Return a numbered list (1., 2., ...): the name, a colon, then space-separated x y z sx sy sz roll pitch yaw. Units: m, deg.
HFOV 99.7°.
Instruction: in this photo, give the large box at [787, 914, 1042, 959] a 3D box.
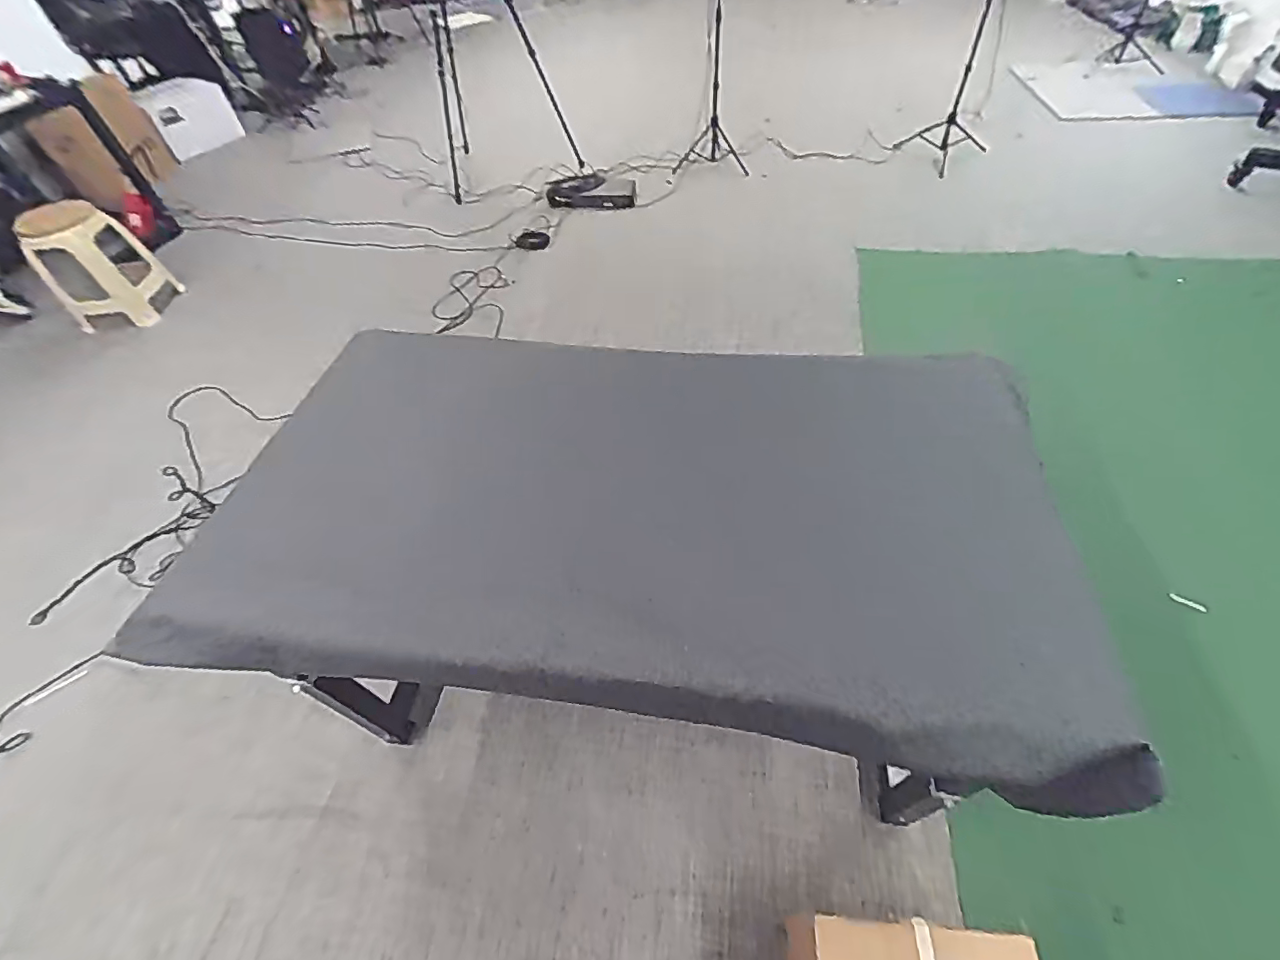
1. large box: 0.411 0.899 0.788 0.320 0.320 0.408 1 52 6
